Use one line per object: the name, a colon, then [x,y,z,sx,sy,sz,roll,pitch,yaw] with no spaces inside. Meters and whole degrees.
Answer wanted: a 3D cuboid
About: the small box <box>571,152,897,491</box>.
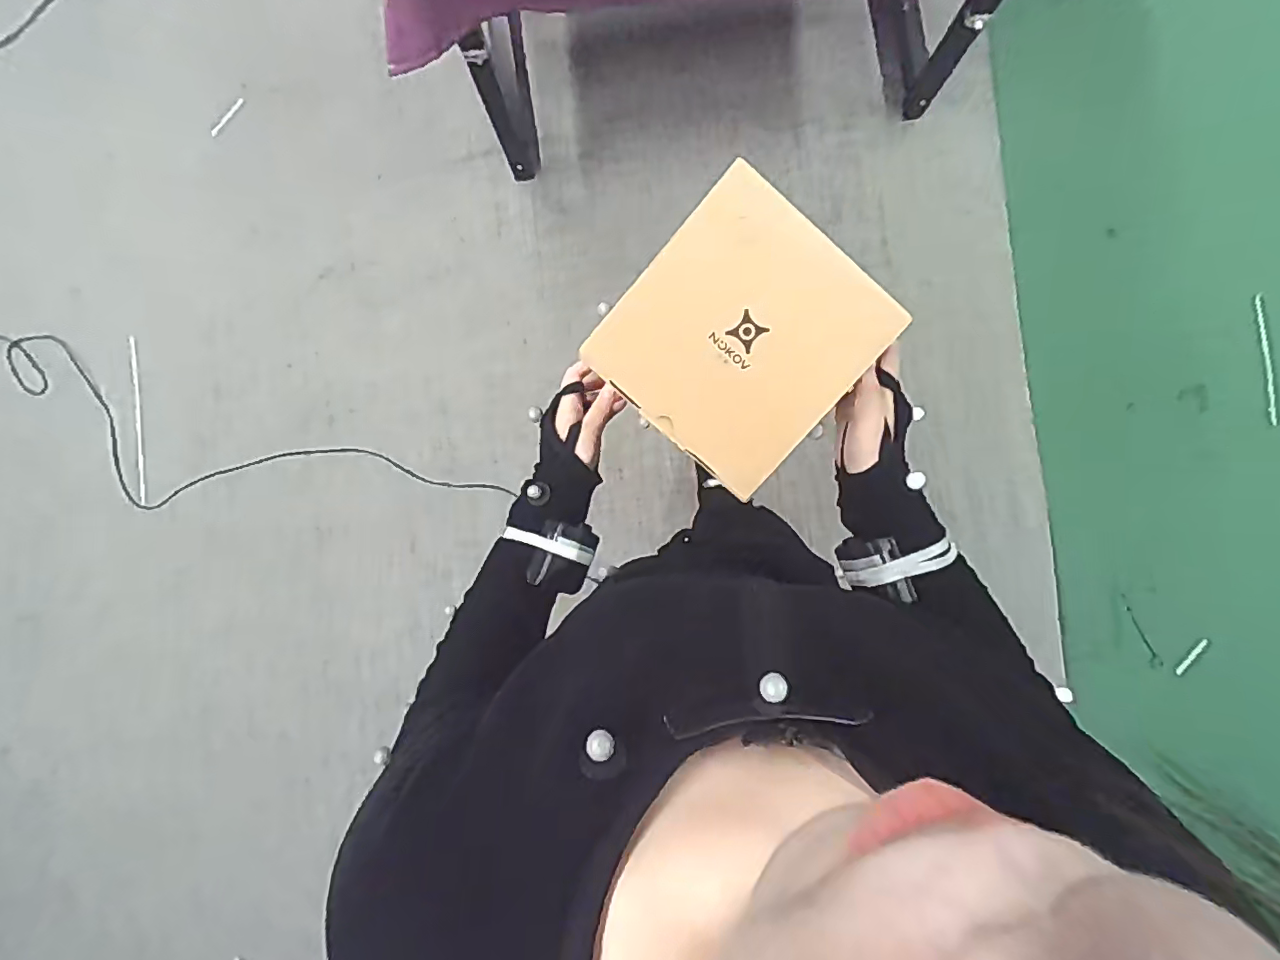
small box: [0.066,-0.118,0.459,0.168,0.176,0.179,41,97,-3]
